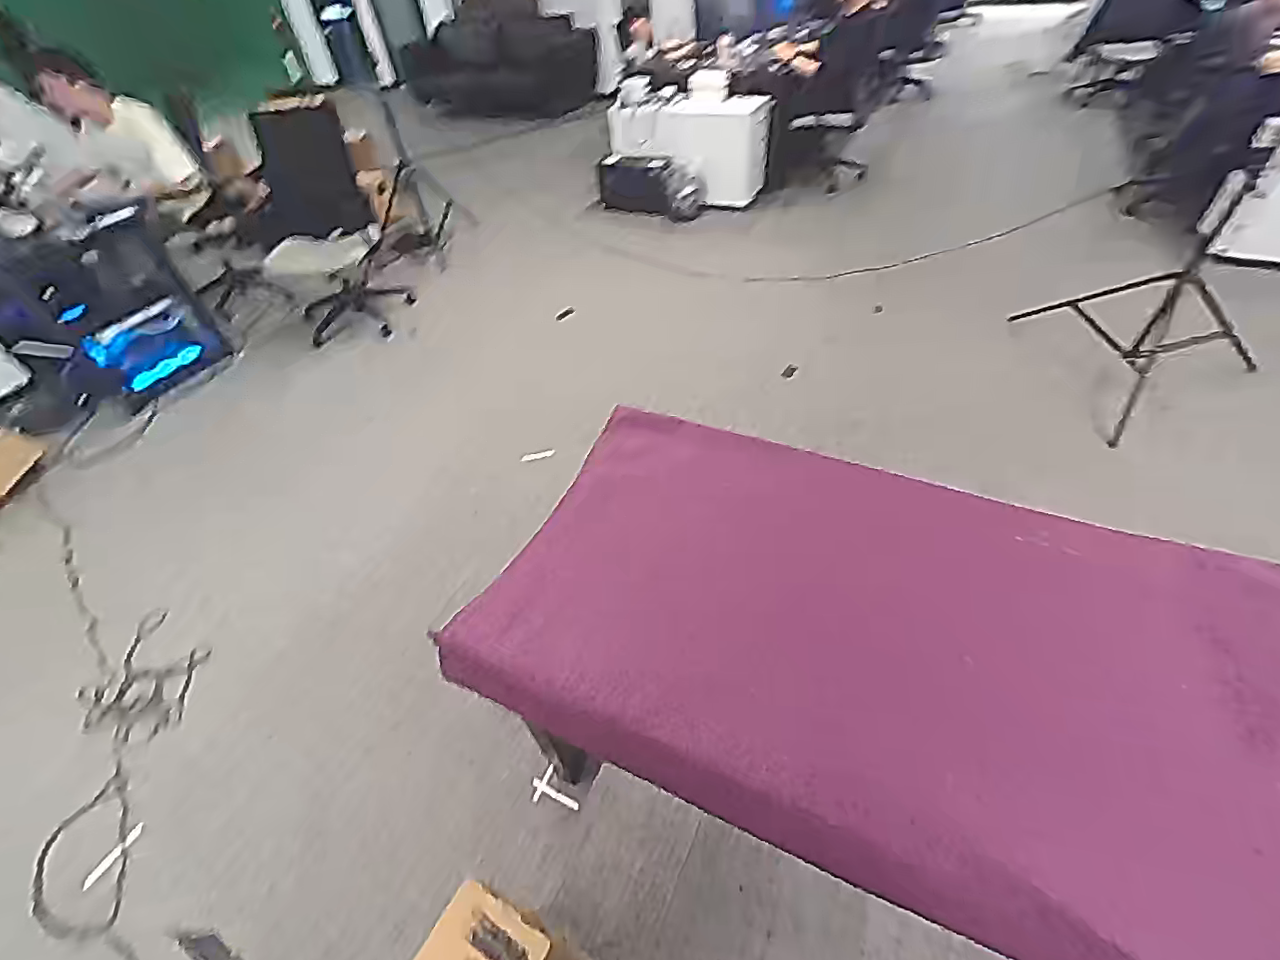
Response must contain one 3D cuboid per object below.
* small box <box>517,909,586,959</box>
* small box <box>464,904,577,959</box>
[{"bbox_3d":[-0.208,0.985,1.044,0.168,0.176,0.179,22,52,25],"label":"small box"},{"bbox_3d":[-0.215,0.875,0.922,0.168,0.176,0.179,18,50,22],"label":"small box"}]
